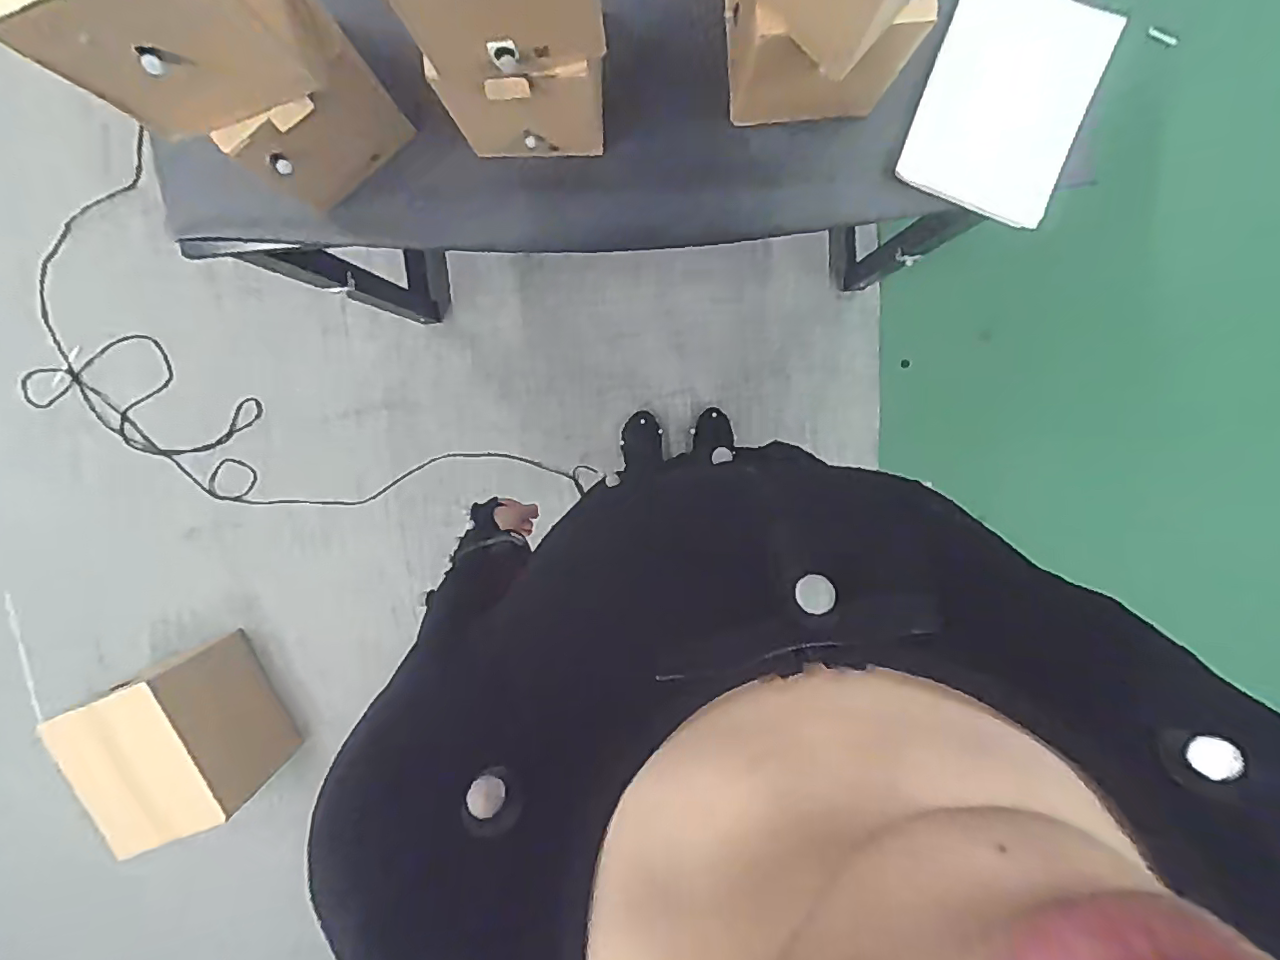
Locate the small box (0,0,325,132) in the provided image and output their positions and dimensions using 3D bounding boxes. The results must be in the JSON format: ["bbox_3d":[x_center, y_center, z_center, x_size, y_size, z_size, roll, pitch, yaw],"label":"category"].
[{"bbox_3d":[-0.419,-0.439,0.459,0.179,0.176,0.168,-17,97,5],"label":"small box"}]

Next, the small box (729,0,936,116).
[{"bbox_3d":[0.197,-0.535,0.594,0.179,0.176,0.168,-4,97,3],"label":"small box"}]

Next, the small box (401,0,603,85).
[{"bbox_3d":[-0.133,-0.480,0.446,0.168,0.176,0.179,-11,97,4],"label":"small box"}]

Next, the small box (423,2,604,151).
[{"bbox_3d":[-0.132,-0.502,0.607,0.168,0.176,0.179,0,97,3],"label":"small box"}]

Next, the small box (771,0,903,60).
[{"bbox_3d":[0.180,-0.503,0.433,0.179,0.176,0.168,43,97,-4],"label":"small box"}]
